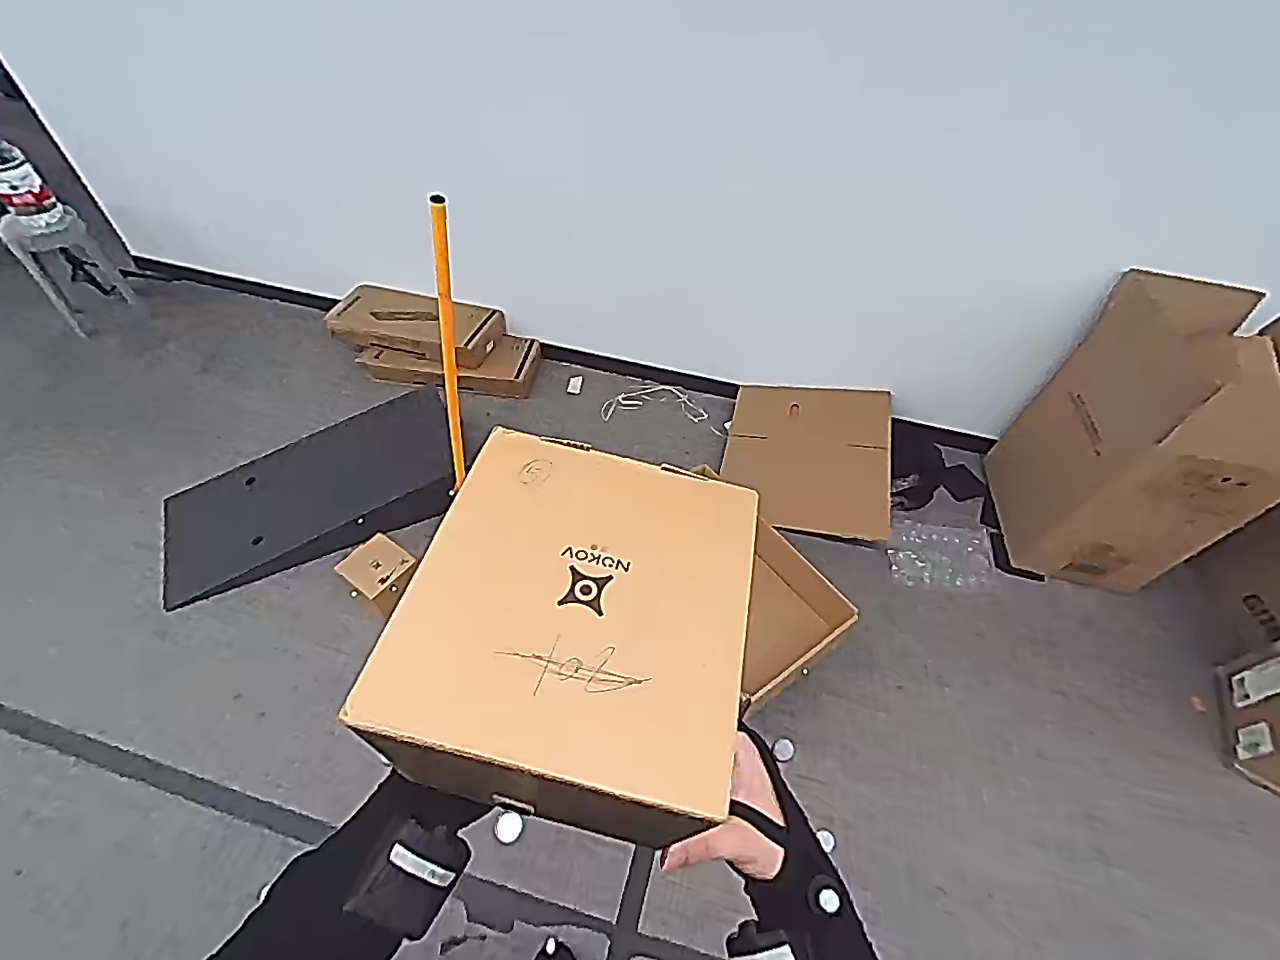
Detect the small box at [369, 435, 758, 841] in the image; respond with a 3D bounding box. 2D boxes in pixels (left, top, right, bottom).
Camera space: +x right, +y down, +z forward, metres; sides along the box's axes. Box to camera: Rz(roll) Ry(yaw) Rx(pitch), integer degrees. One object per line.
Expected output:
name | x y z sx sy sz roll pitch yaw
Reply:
small box | -0.035 0.105 0.346 0.168 0.176 0.179 14 52 2
